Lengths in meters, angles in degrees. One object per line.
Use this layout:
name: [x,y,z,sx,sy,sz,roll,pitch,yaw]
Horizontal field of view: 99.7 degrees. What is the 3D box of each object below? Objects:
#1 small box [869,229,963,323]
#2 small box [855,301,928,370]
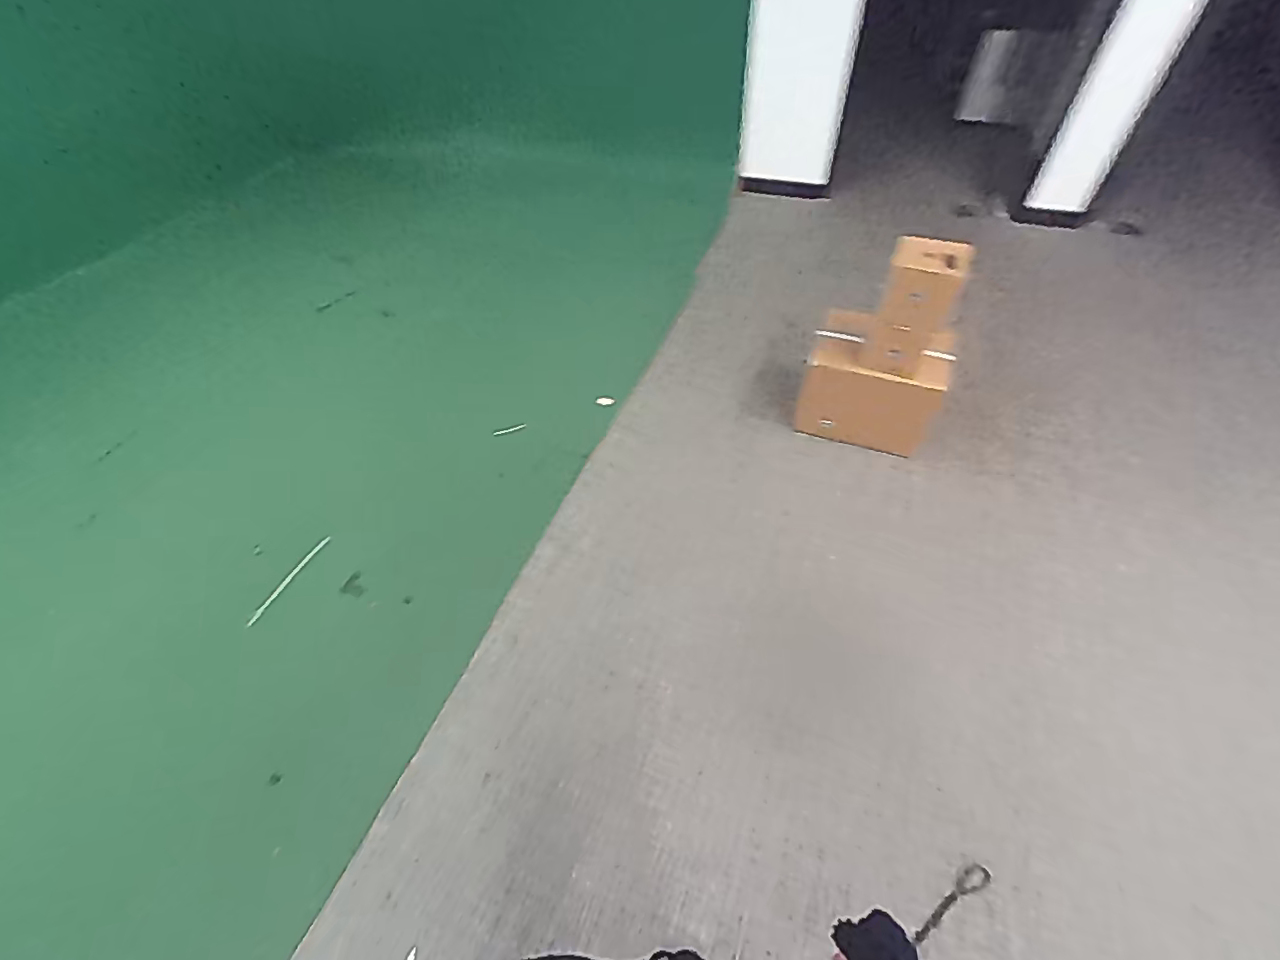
small box: [0.743,-0.550,1.464,0.179,0.176,0.168,17,56,19]
small box: [0.750,-0.453,1.597,0.168,0.176,0.179,18,57,18]
